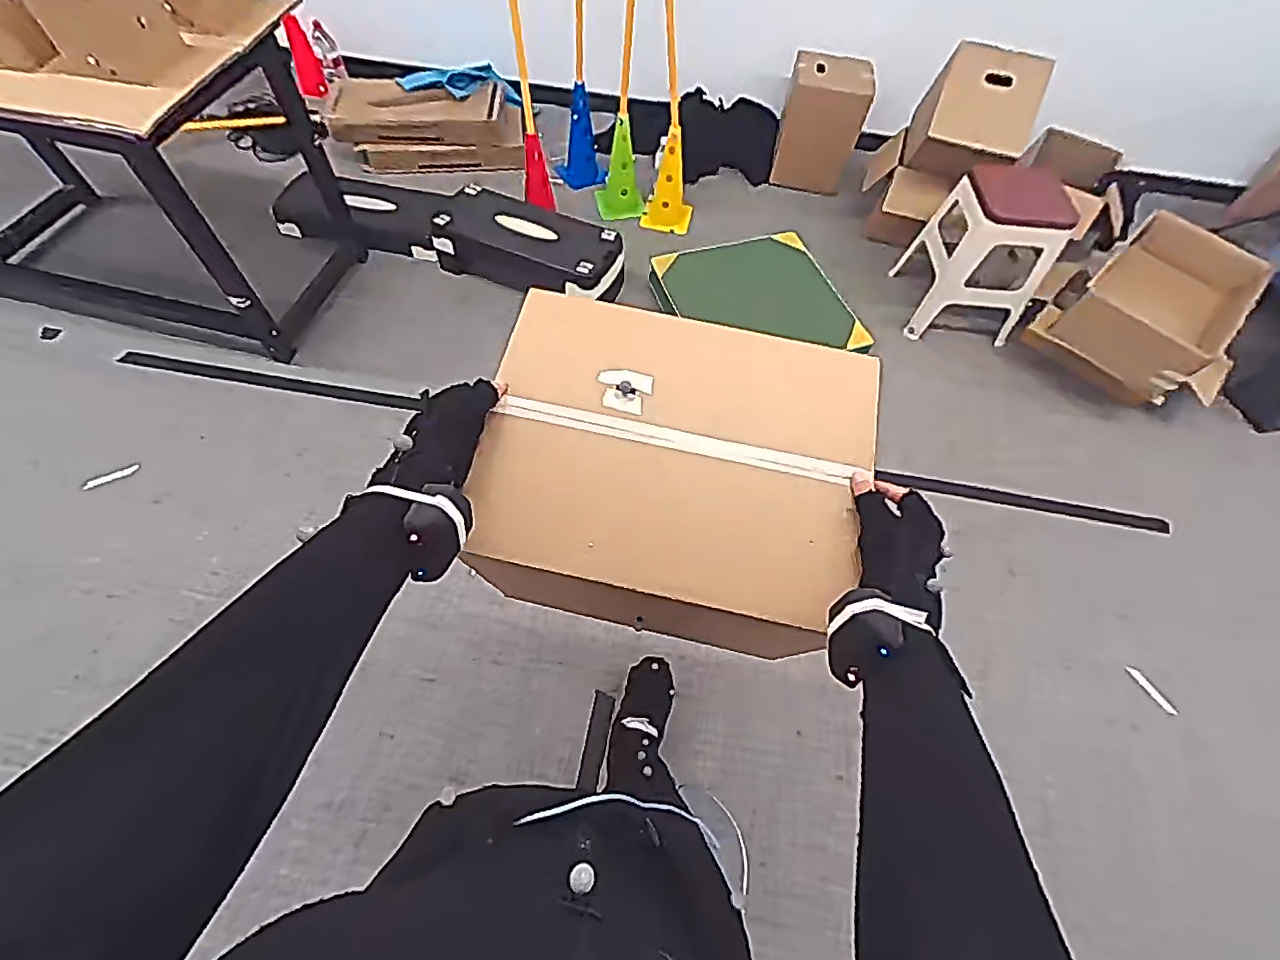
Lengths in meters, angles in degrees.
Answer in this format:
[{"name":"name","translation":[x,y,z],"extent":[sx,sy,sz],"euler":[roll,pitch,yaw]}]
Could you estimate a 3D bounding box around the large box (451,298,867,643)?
[{"name":"large box","translation":[0.036,0.013,0.713],"extent":[0.408,0.320,0.320],"euler":[12,68,4]}]
